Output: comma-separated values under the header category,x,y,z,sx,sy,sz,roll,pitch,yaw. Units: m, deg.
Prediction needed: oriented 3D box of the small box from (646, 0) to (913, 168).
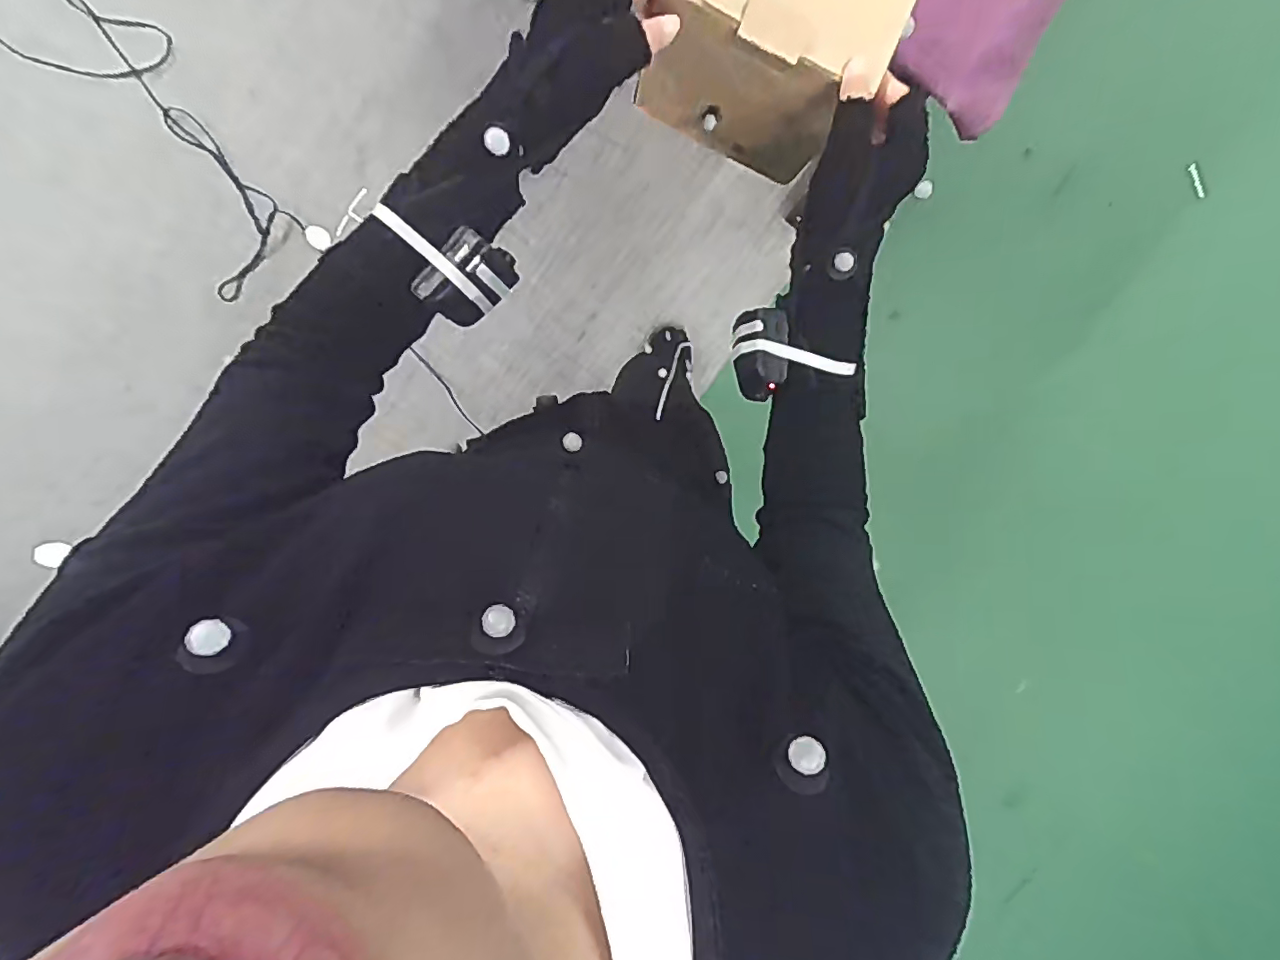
category,x,y,z,sx,sy,sz,roll,pitch,yaw
small box,0.113,-0.395,0.431,0.168,0.176,0.179,21,98,-9
